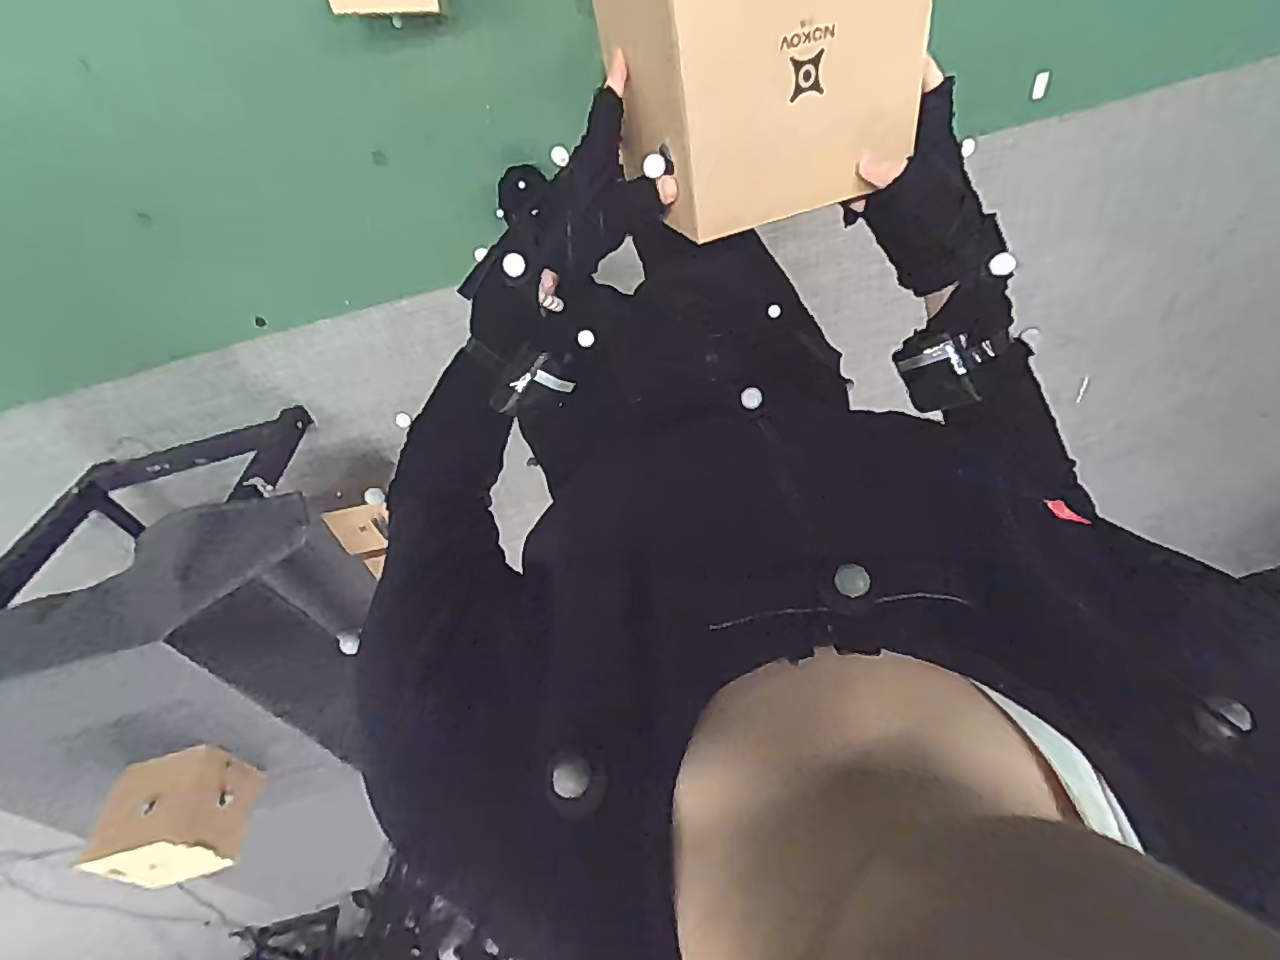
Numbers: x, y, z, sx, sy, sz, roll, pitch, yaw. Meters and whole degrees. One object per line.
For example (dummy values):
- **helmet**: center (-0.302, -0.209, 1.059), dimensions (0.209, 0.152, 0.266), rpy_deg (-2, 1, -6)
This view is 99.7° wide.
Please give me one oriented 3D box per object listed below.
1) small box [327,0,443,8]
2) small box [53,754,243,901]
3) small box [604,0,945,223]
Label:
- **small box**: center (-0.413, -0.851, 0.838), dimensions (0.168, 0.176, 0.179), rpy_deg (-7, 131, -7)
- **small box**: center (-0.875, 0.631, 0.991), dimensions (0.179, 0.176, 0.168), rpy_deg (-18, 131, 1)
- **small box**: center (0.080, -0.304, 0.374), dimensions (0.168, 0.176, 0.179), rpy_deg (-19, 129, -9)
